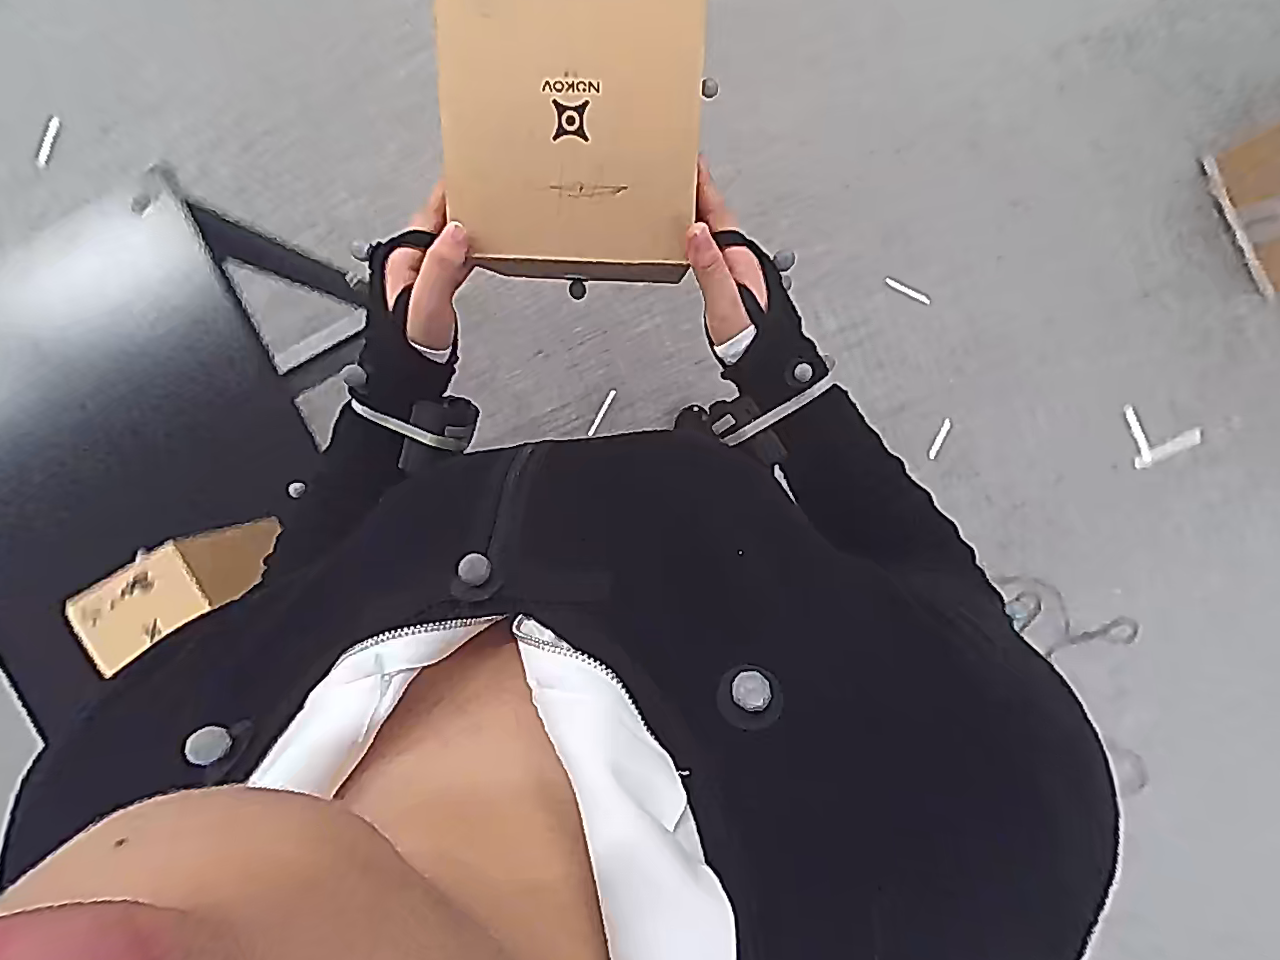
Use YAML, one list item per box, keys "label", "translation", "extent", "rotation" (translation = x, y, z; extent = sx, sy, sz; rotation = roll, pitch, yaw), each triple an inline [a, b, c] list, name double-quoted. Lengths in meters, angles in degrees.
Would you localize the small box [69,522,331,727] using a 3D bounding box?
- label: "small box"
  translation: [-0.559, 0.177, 0.715]
  extent: [0.168, 0.176, 0.179]
  rotation: [-29, 95, 6]
